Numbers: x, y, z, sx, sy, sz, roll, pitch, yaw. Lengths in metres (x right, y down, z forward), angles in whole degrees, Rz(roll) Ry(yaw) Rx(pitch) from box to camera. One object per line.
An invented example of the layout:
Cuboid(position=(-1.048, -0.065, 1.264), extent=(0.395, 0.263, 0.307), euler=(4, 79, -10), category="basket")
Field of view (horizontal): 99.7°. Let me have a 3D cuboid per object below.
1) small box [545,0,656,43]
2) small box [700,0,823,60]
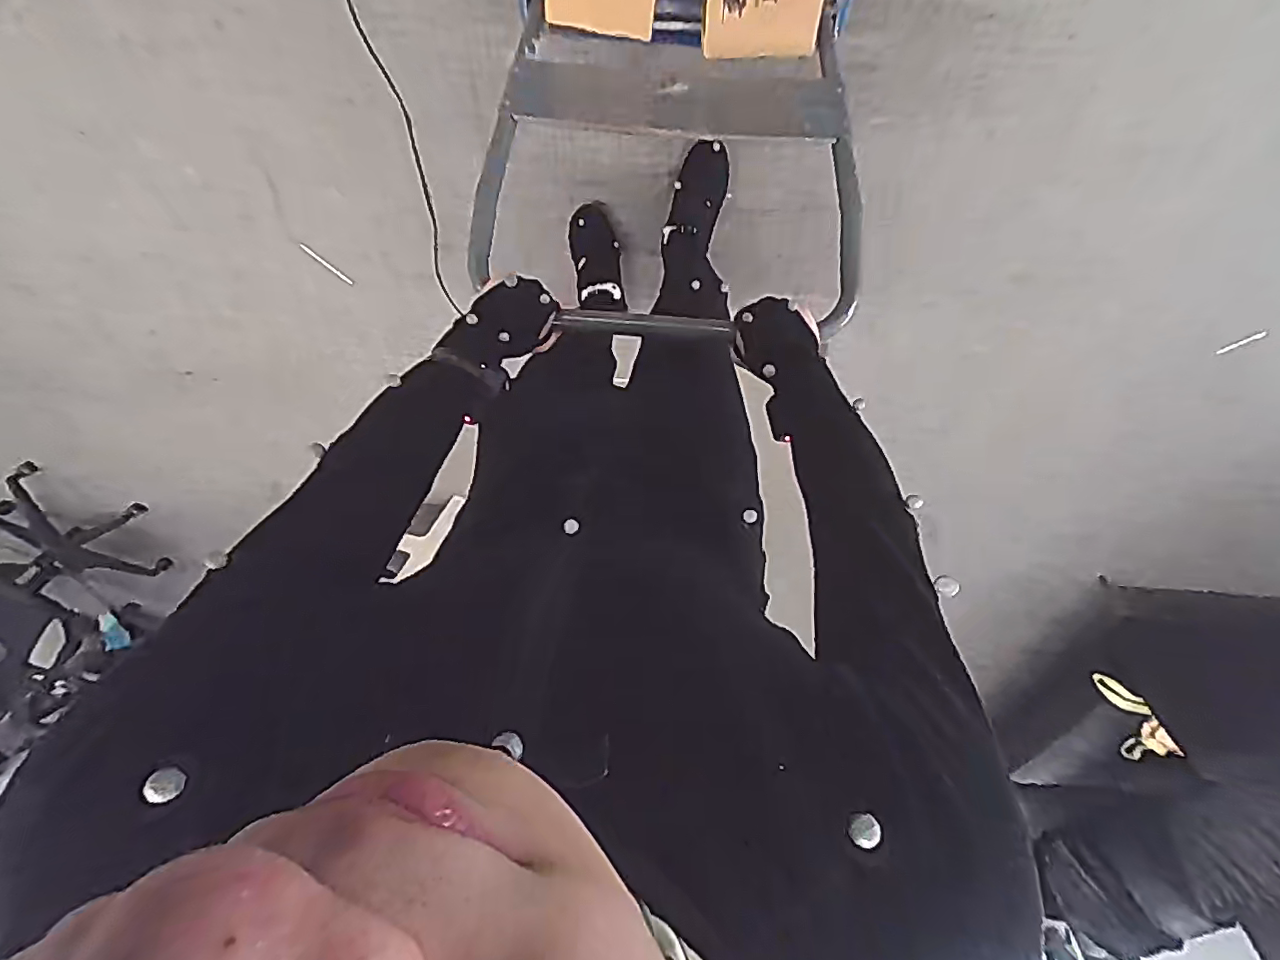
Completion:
Cuboid(position=(-0.049, -0.804, 0.801), extent=(0.168, 0.176, 0.179), euler=(7, 153, -6), category="small box")
Cuboid(position=(0.185, -0.773, 0.819), extent=(0.179, 0.176, 0.168), euler=(2, 152, 3), category="small box")
